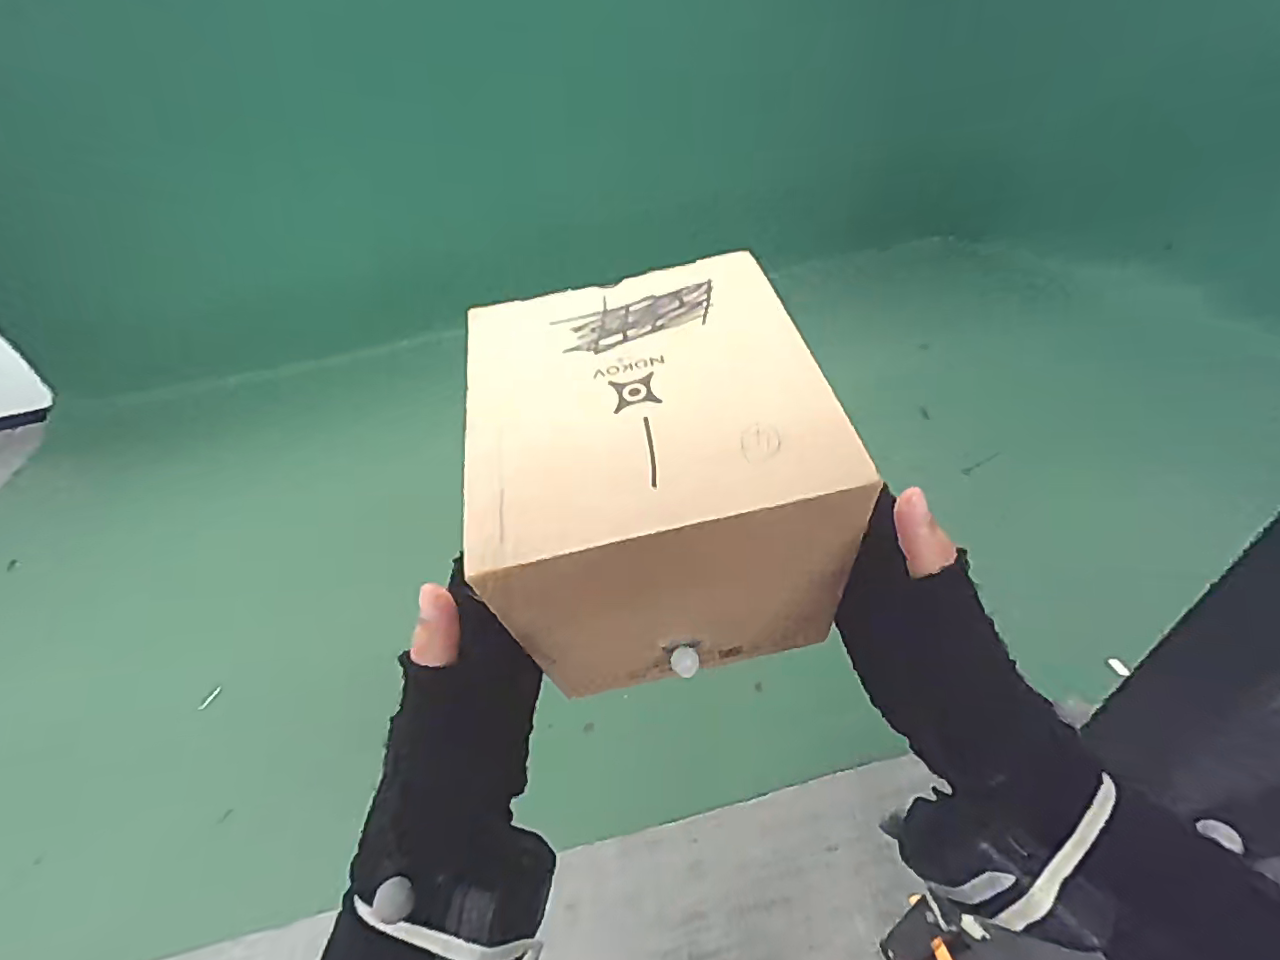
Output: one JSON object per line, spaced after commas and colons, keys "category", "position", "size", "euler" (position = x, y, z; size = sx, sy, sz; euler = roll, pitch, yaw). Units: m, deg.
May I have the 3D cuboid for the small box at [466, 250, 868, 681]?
{"category": "small box", "position": [0.008, -0.004, 0.327], "size": [0.168, 0.176, 0.179], "euler": [-13, 52, 0]}
